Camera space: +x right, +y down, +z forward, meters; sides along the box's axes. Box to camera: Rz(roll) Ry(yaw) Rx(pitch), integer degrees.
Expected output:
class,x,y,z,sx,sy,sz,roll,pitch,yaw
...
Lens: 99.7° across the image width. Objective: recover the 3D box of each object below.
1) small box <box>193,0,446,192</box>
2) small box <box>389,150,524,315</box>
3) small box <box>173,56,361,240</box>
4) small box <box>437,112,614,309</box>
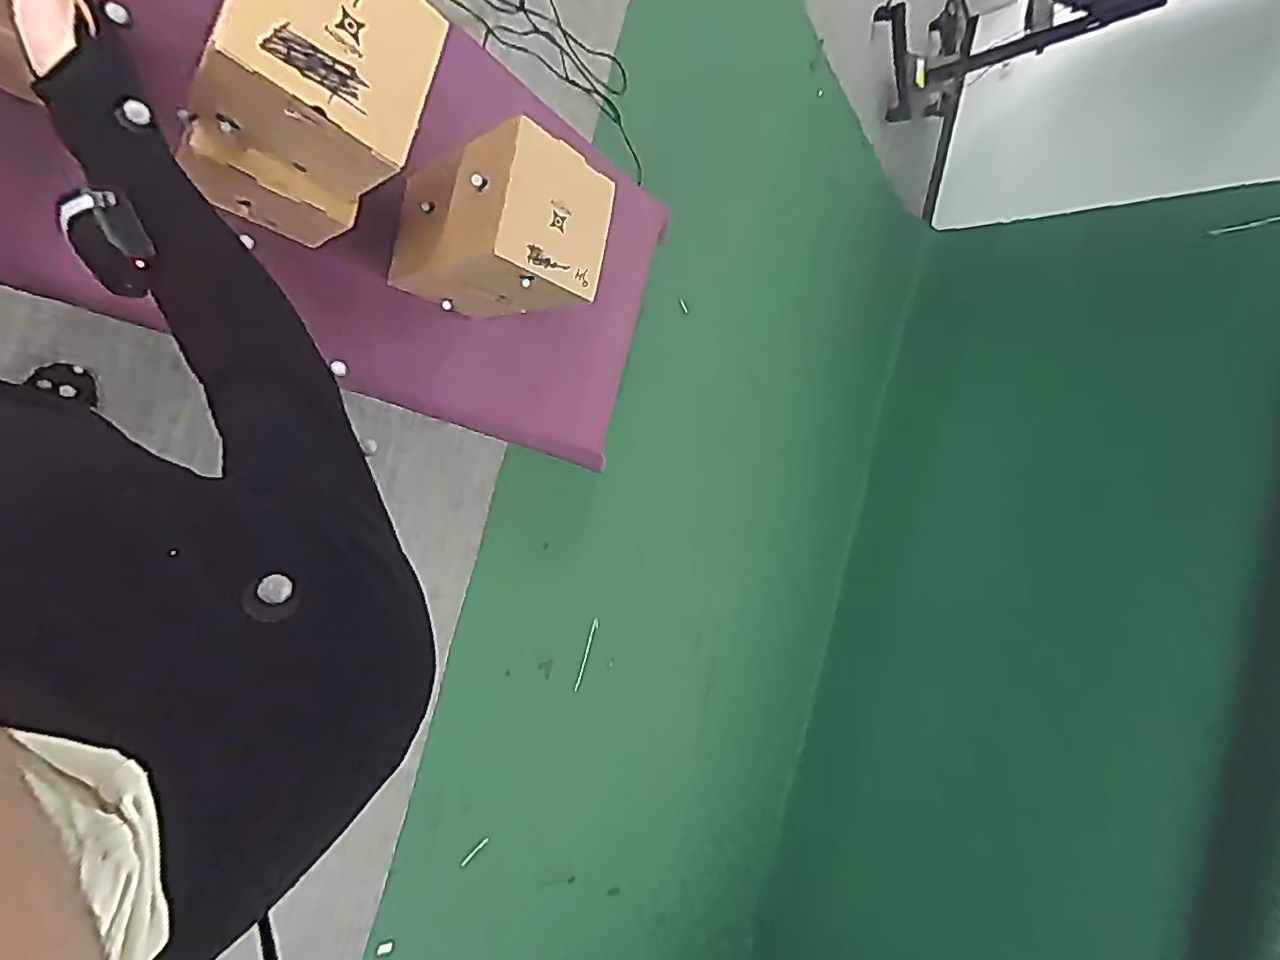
class,x,y,z,sx,sy,sz,roll,pitch,yaw
small box,-0.337,-0.438,0.565,0.168,0.176,0.179,19,84,-46
small box,-0.282,-0.381,0.872,0.168,0.176,0.179,12,89,-46
small box,-0.458,-0.431,0.680,0.168,0.176,0.179,14,89,-47
small box,-0.164,-0.359,0.761,0.168,0.176,0.179,11,89,-46
